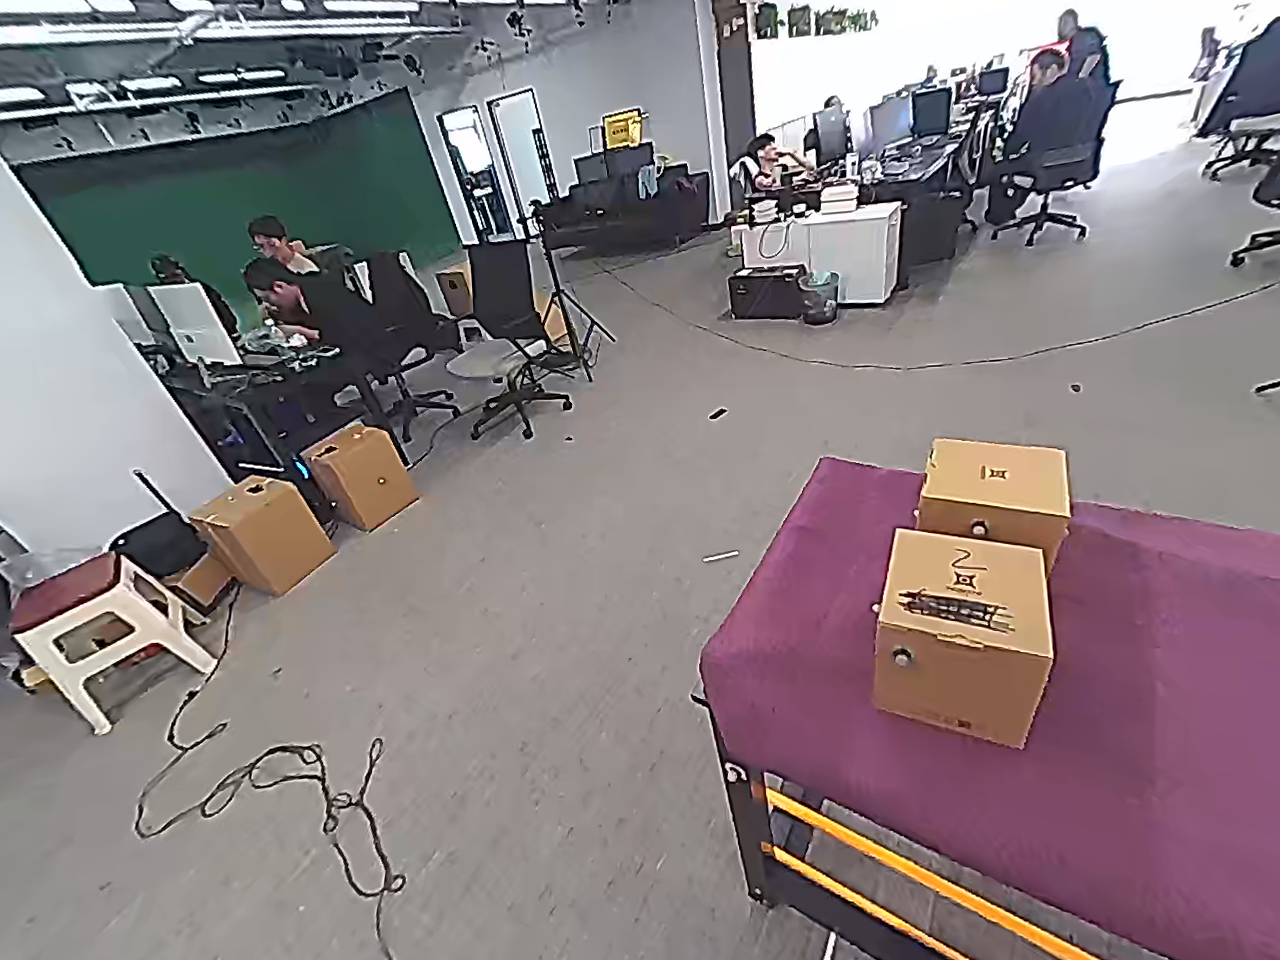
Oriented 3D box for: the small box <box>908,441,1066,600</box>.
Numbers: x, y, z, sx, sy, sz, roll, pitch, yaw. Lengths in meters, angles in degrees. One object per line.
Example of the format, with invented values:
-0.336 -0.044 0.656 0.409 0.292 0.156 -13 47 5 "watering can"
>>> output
0.531 0.062 0.840 0.179 0.176 0.168 9 39 30 "small box"
